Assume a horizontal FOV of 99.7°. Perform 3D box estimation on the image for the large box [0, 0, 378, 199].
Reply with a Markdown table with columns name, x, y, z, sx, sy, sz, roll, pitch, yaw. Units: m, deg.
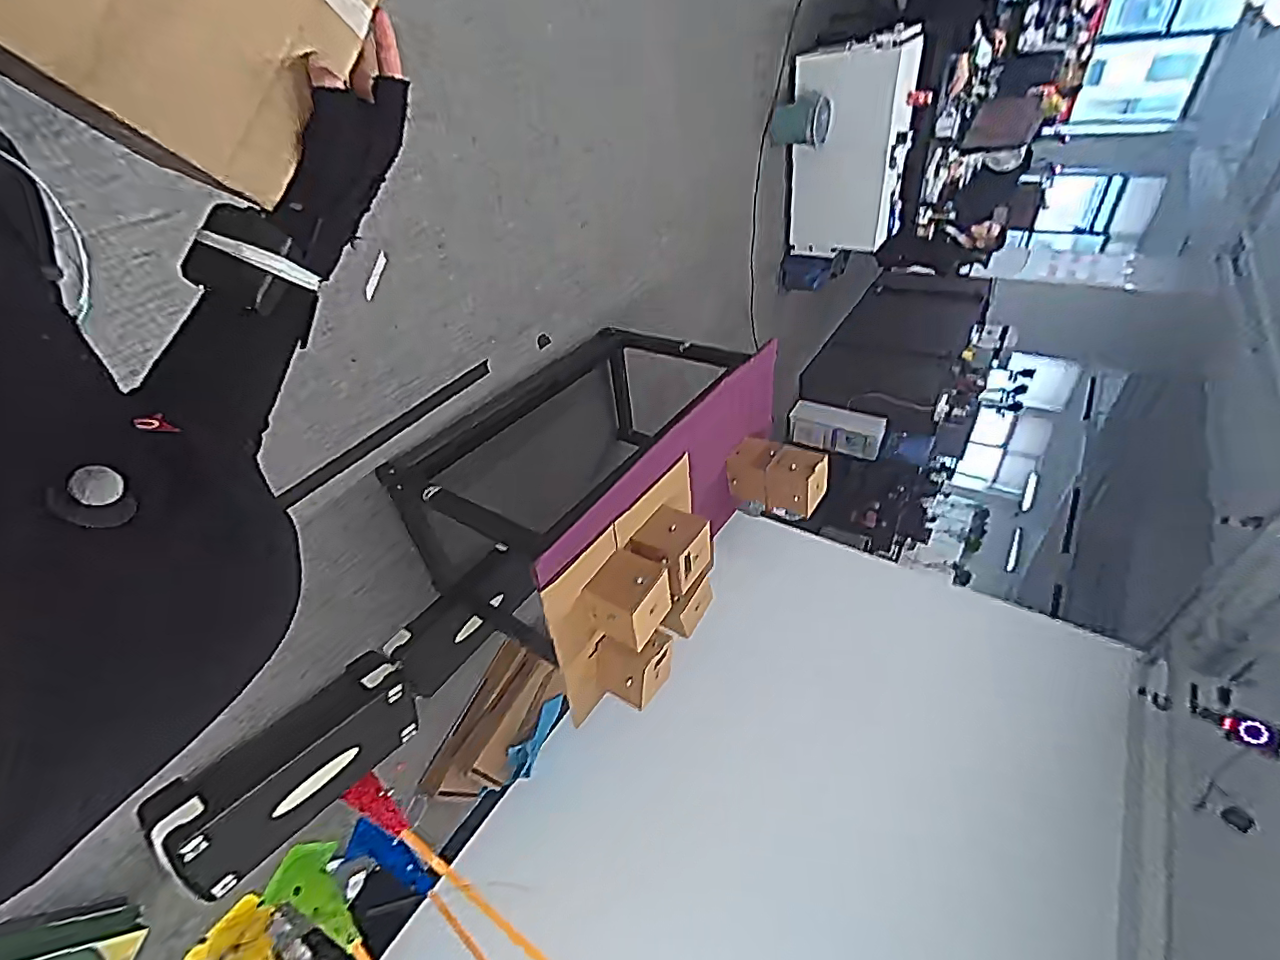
| name | x | y | z | sx | sy | sz | roll | pitch | yaw |
| --- | --- | --- | --- | --- | --- | --- | --- | --- | --- |
| large box | -0.418 | -0.454 | 0.322 | 0.320 | 0.320 | 0.408 | -61 | 149 | 2 |
